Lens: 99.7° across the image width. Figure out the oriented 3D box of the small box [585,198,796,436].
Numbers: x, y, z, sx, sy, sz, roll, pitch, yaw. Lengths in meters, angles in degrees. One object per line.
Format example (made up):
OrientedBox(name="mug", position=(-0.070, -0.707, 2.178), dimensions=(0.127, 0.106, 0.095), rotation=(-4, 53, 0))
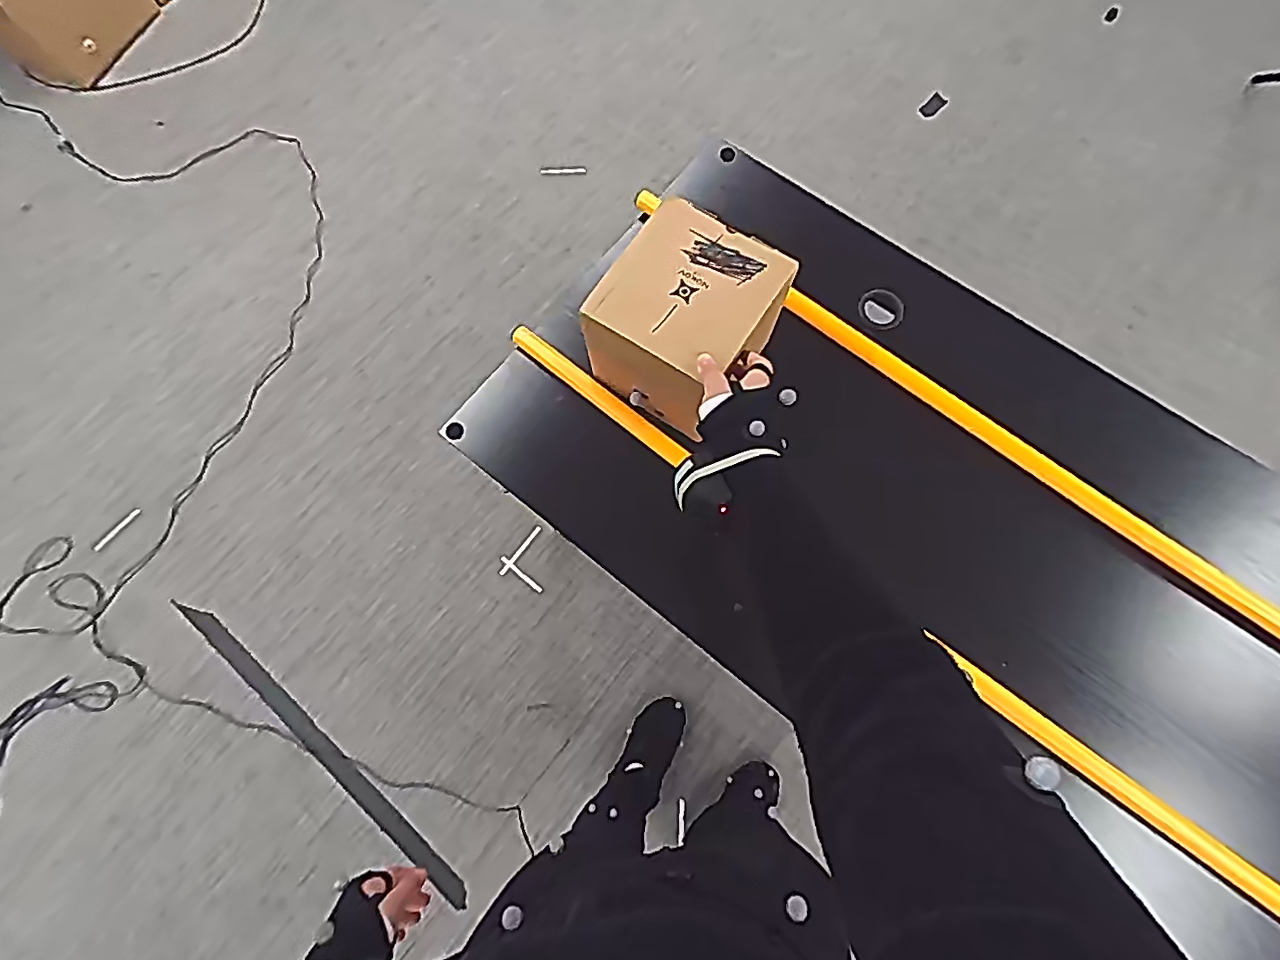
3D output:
OrientedBox(name="small box", position=(0.055, -0.183, 0.649), dimensions=(0.168, 0.176, 0.179), rotation=(33, 79, 9))
